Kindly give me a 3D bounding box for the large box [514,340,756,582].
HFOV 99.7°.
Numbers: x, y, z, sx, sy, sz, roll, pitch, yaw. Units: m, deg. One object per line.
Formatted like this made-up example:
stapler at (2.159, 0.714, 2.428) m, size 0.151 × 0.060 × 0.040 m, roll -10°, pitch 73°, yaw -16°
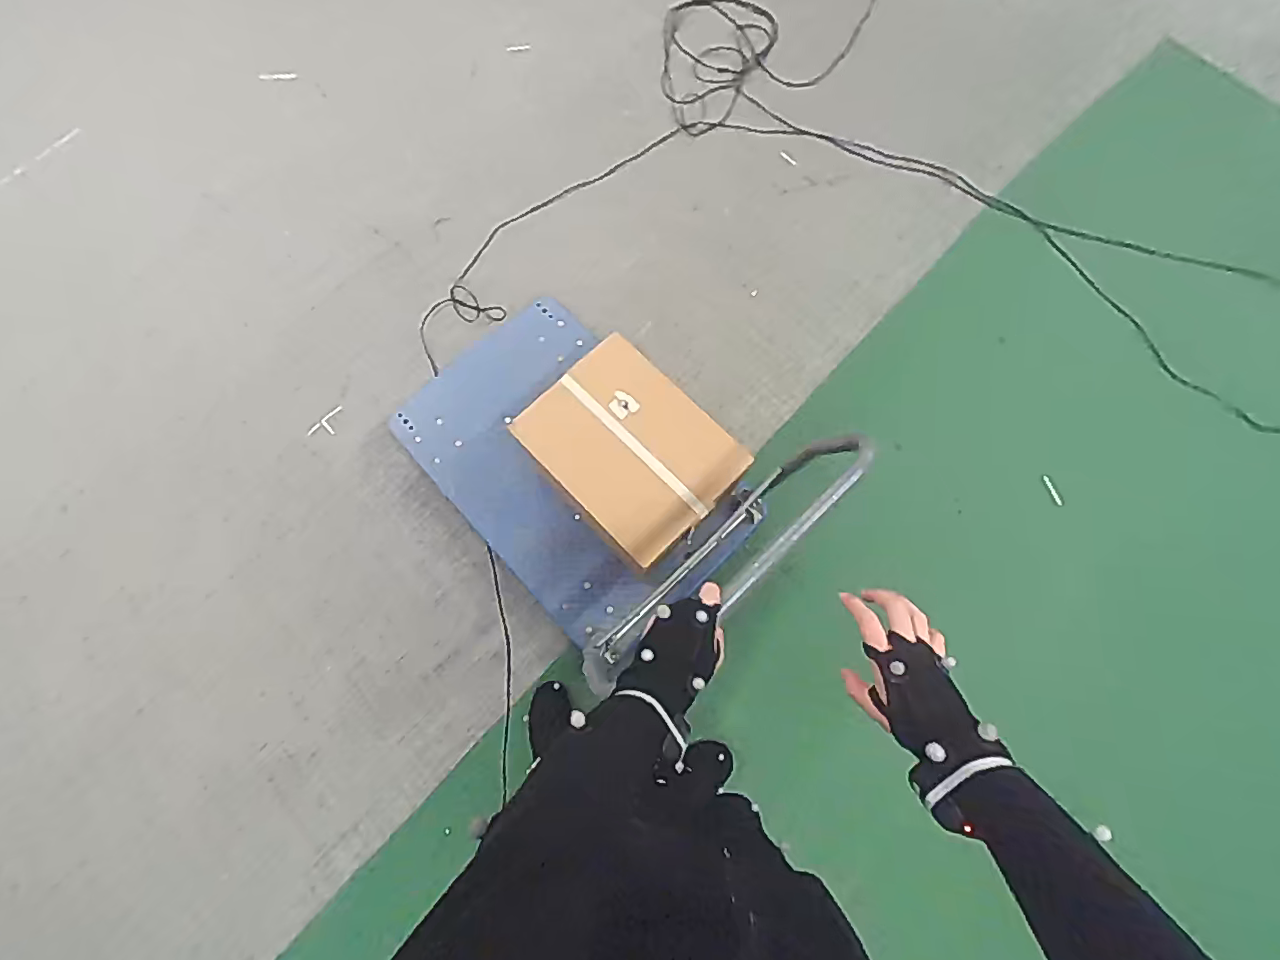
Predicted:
large box at (-0.009, -0.025, 1.227) m, size 0.320 × 0.320 × 0.408 m, roll -42°, pitch 78°, yaw -12°
